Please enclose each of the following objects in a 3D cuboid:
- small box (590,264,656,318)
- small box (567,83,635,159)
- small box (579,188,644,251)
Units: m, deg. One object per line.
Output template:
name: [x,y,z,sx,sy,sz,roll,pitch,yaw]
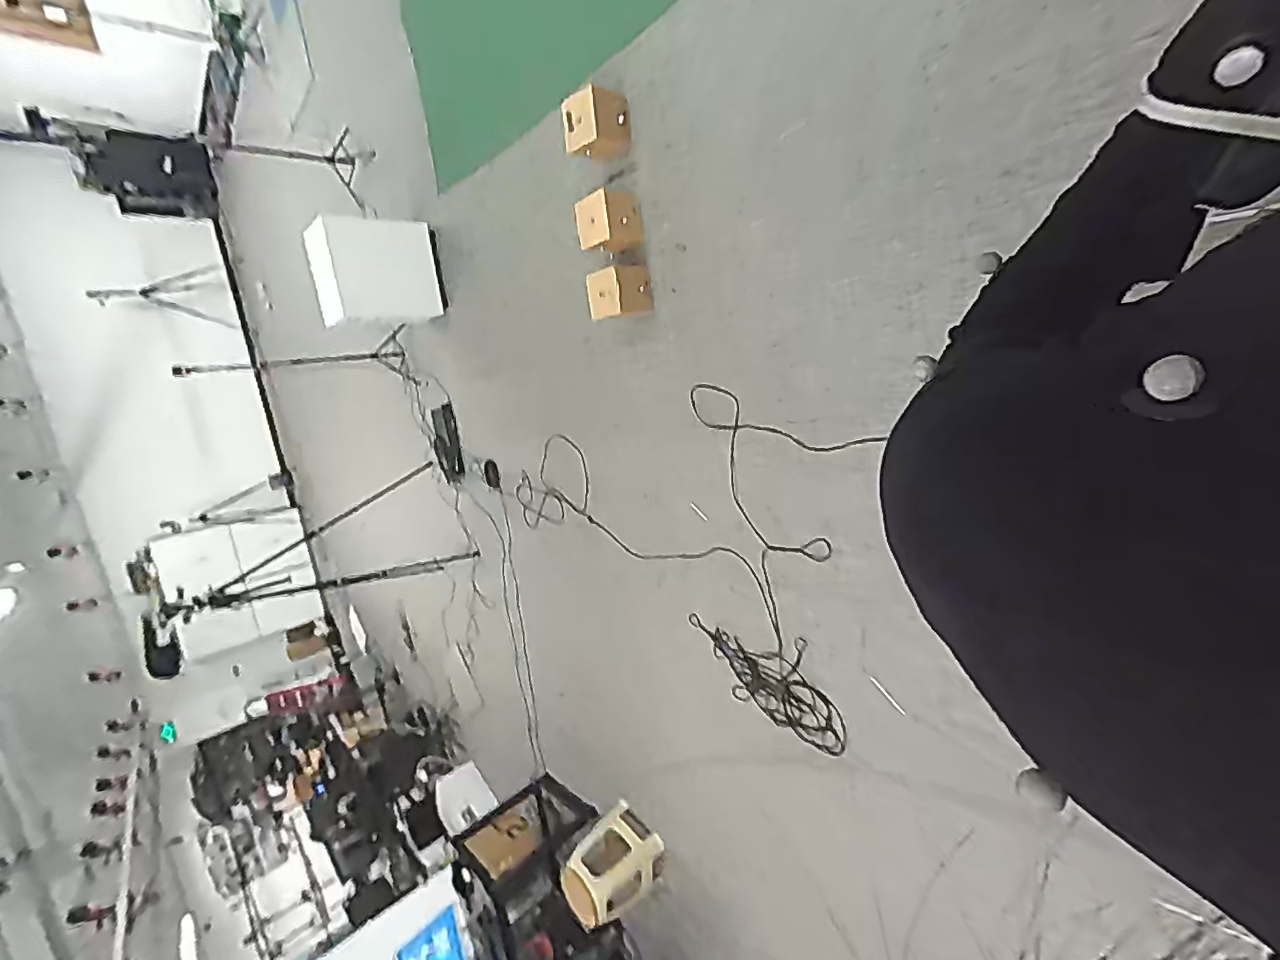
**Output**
small box: [-0.063,-0.706,2.037,0.179,0.176,0.168,4,106,47]
small box: [-0.138,-1.273,1.935,0.179,0.176,0.168,8,109,46]
small box: [-0.097,-0.956,1.997,0.179,0.176,0.168,3,105,49]
